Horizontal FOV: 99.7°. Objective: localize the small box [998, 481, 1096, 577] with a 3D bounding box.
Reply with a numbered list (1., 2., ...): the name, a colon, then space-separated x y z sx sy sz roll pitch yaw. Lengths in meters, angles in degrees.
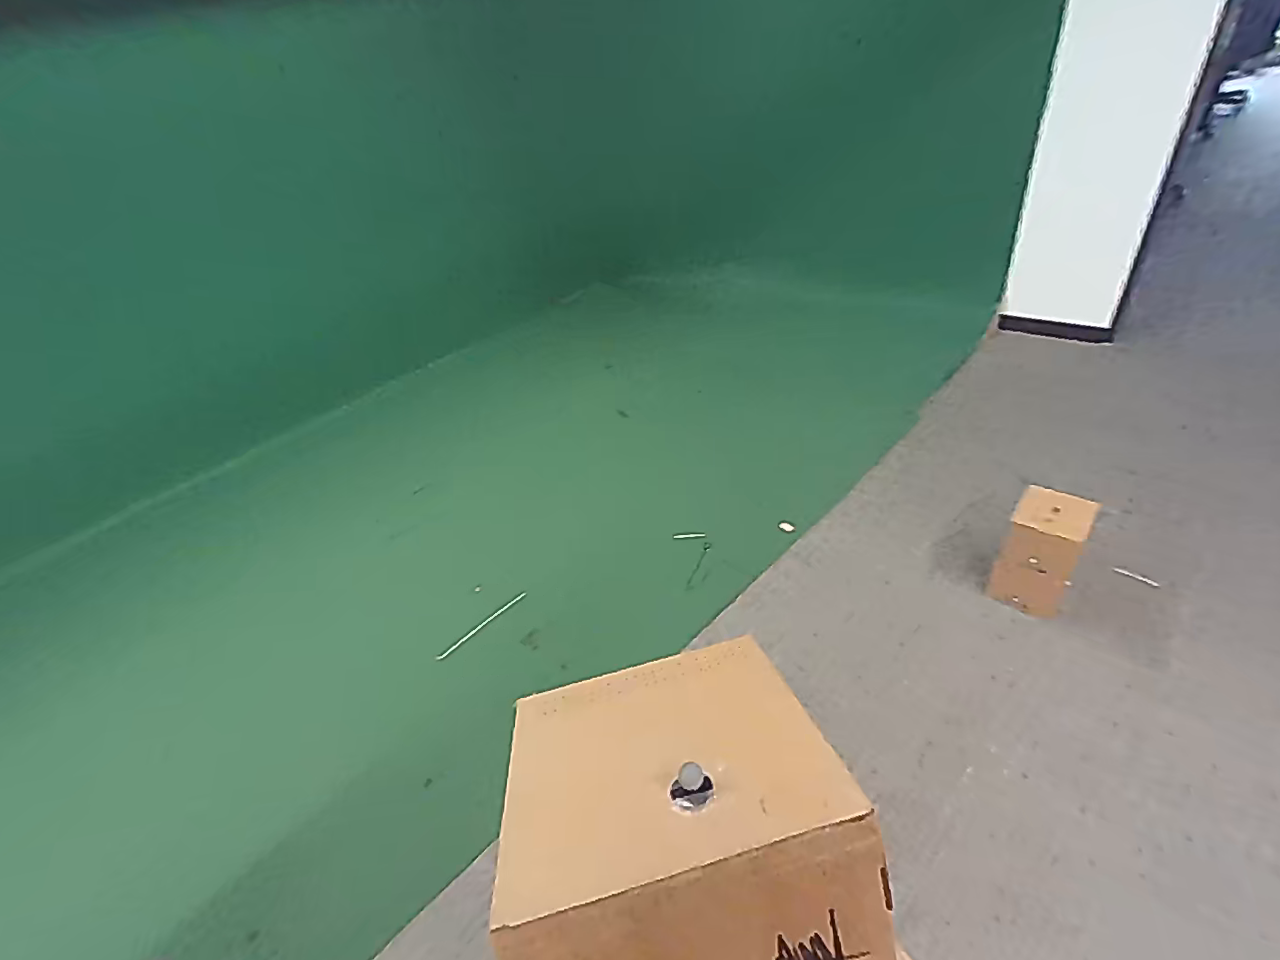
1. small box: 1.139 0.137 1.524 0.168 0.176 0.179 23 53 39
